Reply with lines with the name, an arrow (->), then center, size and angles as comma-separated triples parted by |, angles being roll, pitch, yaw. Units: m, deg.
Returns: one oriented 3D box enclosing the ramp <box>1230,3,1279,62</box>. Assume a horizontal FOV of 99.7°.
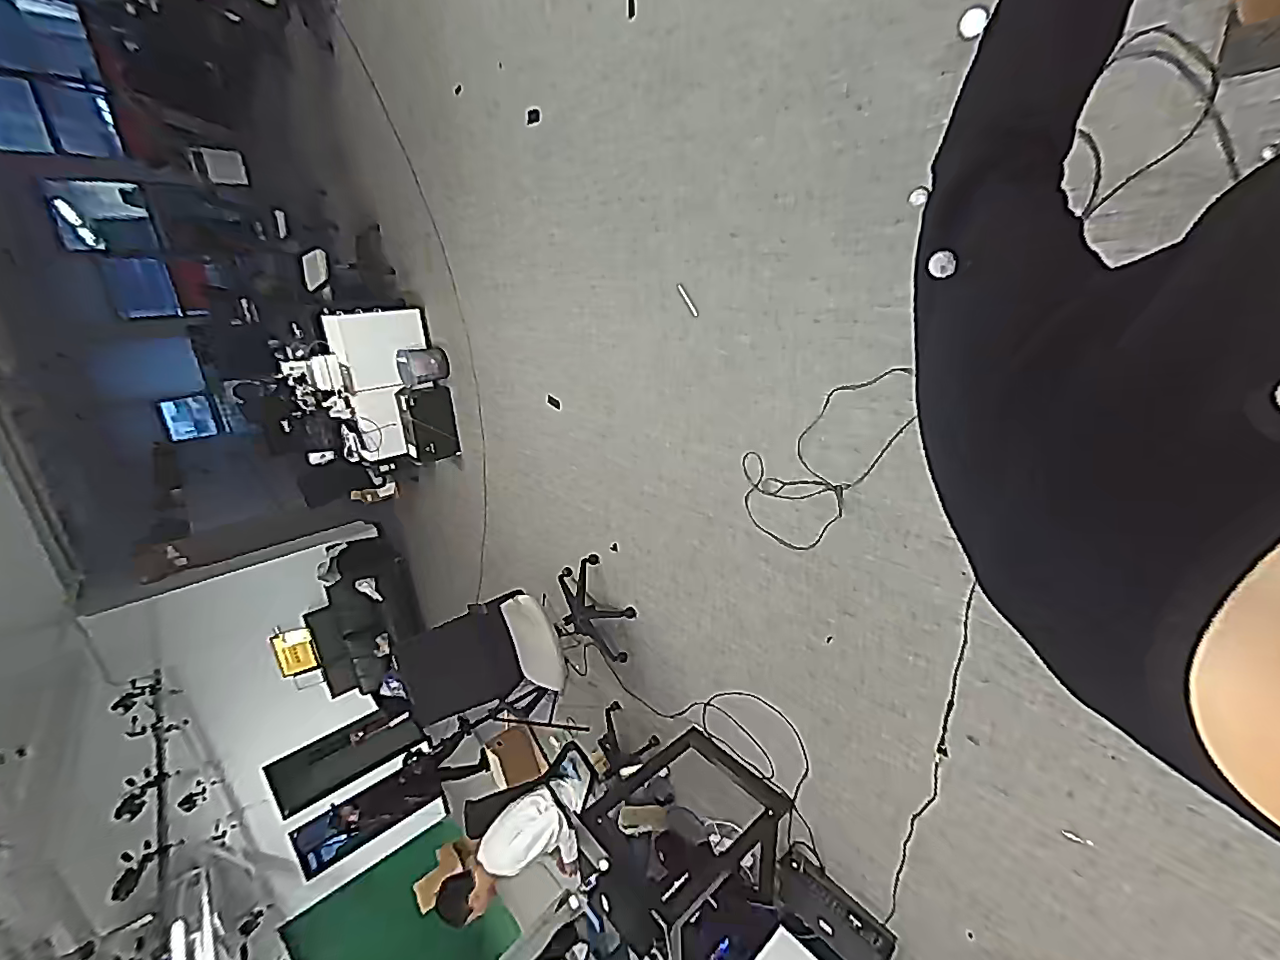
ramp -> 1.070, -1.088, 0.525 | 0.509, 0.206, 0.991 | 17, 119, 46
